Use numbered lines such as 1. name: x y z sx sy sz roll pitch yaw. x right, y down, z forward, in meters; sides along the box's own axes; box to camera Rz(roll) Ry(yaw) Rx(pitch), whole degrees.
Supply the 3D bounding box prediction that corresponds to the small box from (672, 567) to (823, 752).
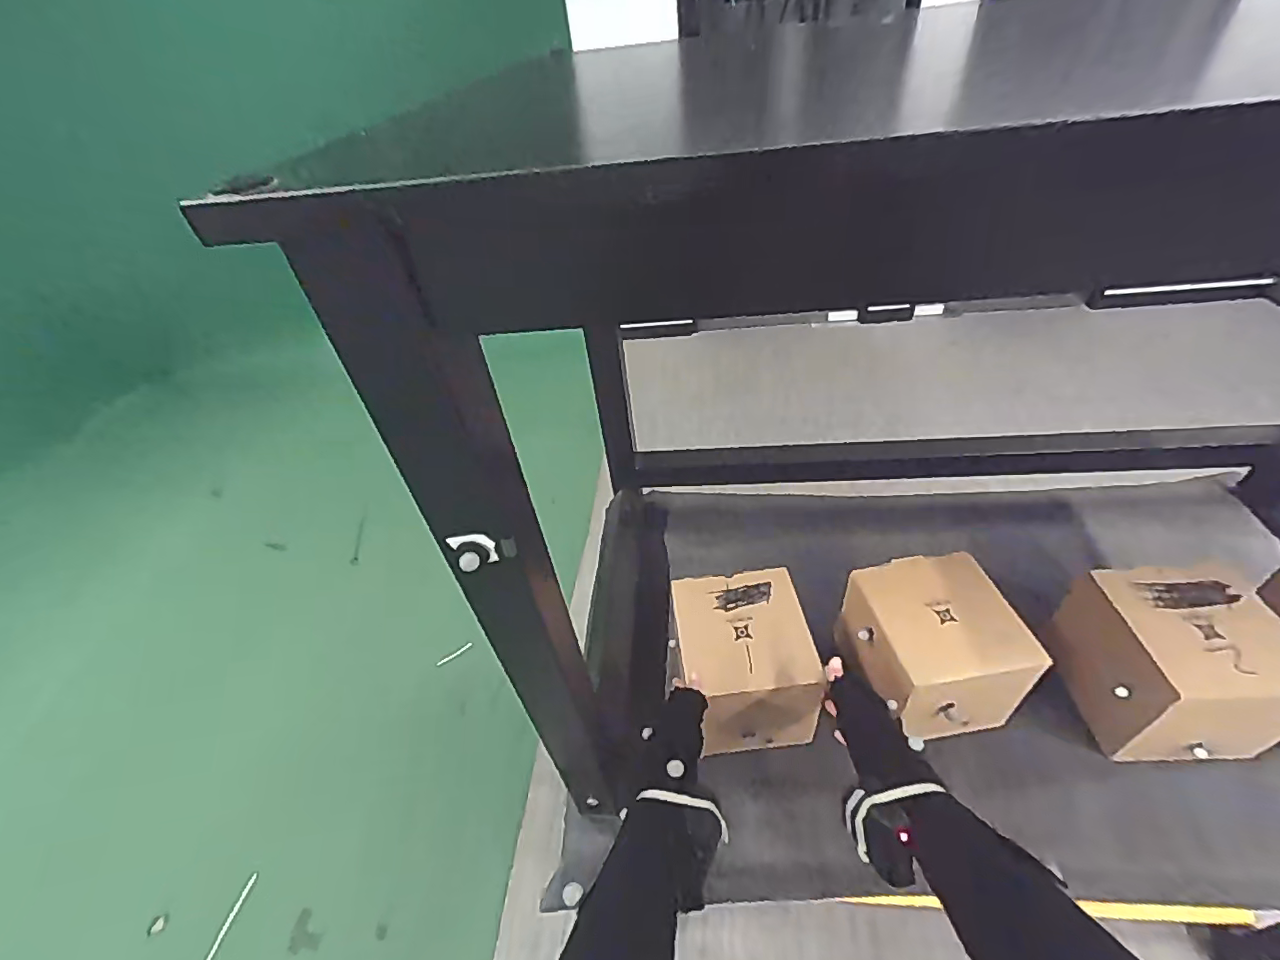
1. small box: 0.136 0.247 0.747 0.168 0.176 0.179 -7 42 1
